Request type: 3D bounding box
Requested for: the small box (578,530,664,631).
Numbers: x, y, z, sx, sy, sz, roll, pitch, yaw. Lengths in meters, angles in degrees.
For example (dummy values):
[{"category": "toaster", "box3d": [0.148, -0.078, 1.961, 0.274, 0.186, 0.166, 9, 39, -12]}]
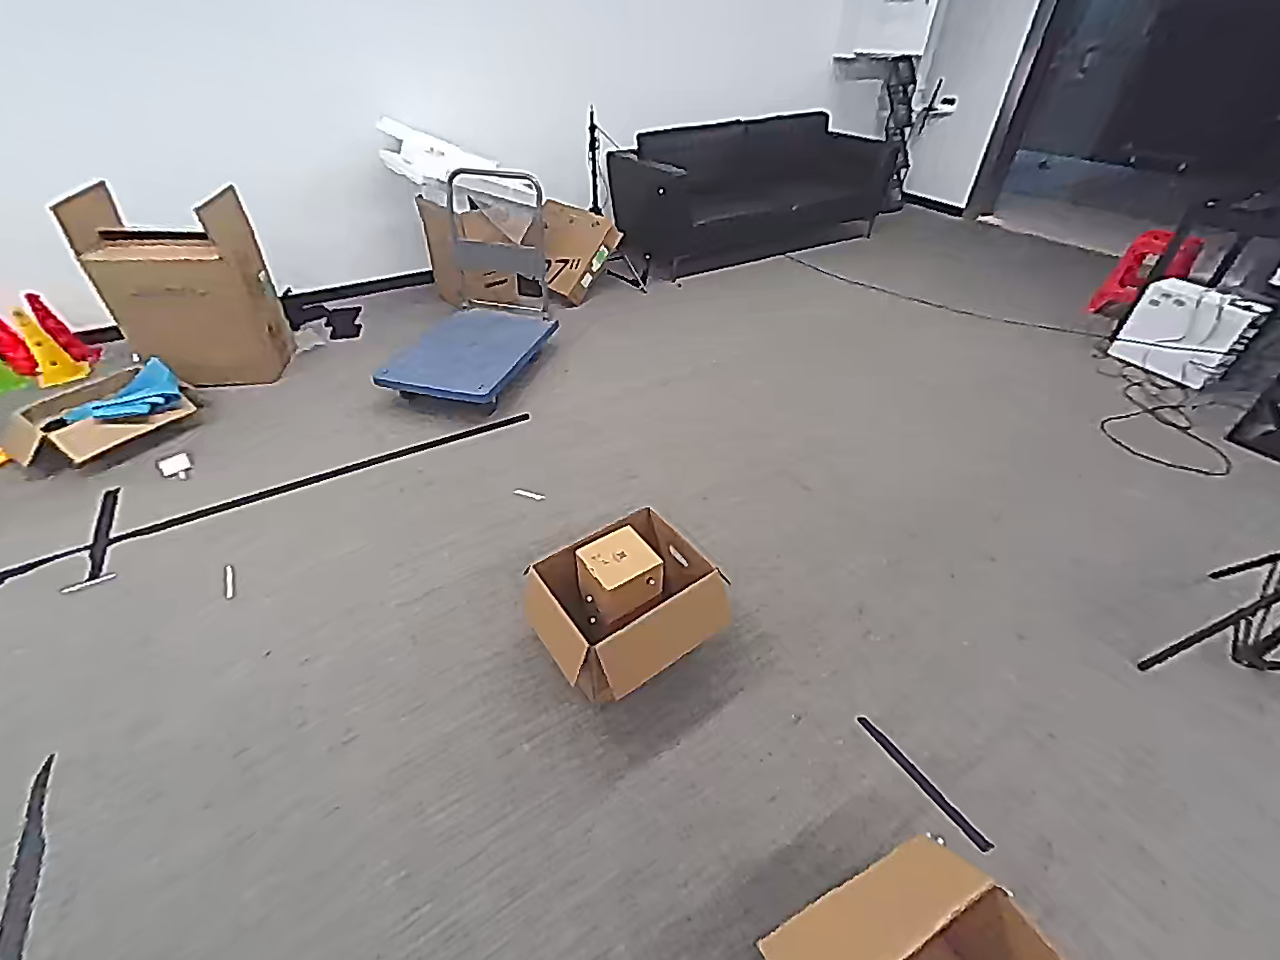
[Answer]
[{"category": "small box", "box3d": [-0.052, 0.273, 1.474, 0.179, 0.176, 0.168, -24, 45, -26]}]
